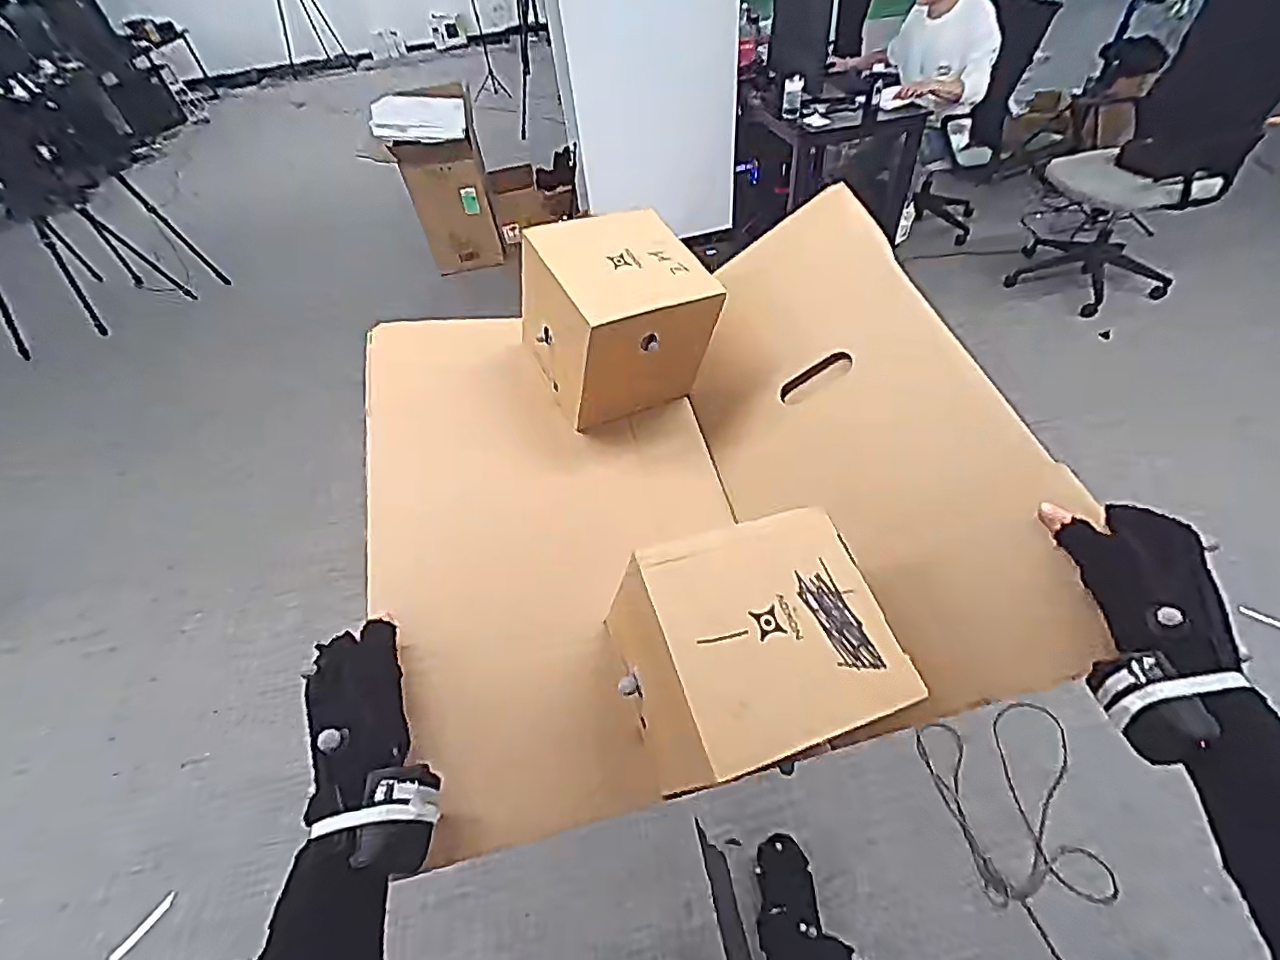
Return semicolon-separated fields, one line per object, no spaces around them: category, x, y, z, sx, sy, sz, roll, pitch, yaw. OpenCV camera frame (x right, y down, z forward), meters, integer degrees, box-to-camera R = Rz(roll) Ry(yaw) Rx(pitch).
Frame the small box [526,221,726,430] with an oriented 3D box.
small box;-0.028;-0.186;0.668;0.179;0.176;0.168;-21;64;-24
